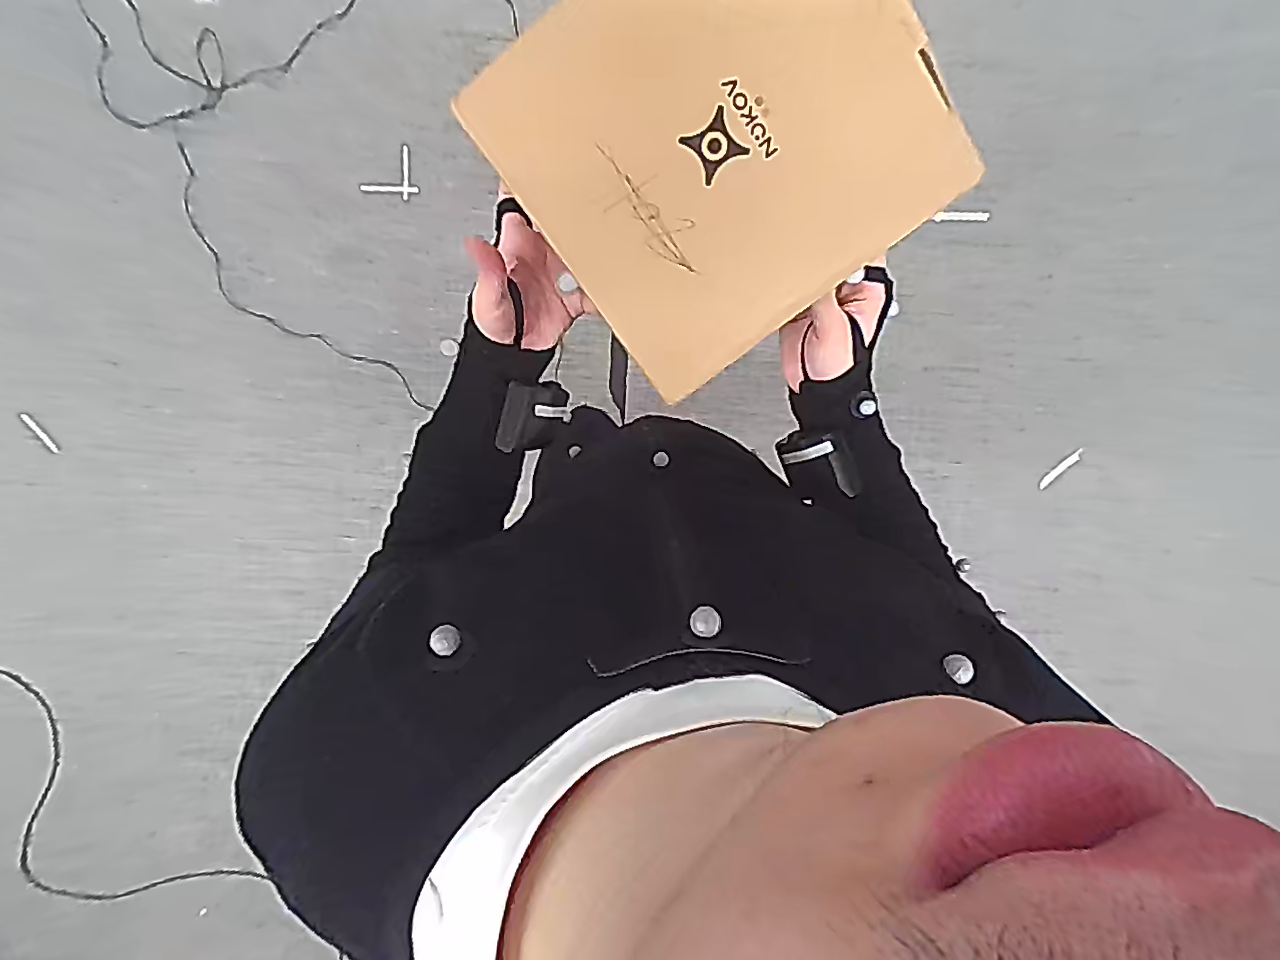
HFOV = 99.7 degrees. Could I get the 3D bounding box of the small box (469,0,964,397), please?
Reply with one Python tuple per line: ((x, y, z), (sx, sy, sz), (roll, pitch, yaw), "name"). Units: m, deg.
((0.036, -0.174, 0.326), (0.179, 0.176, 0.168), (-37, 101, 10), "small box")
